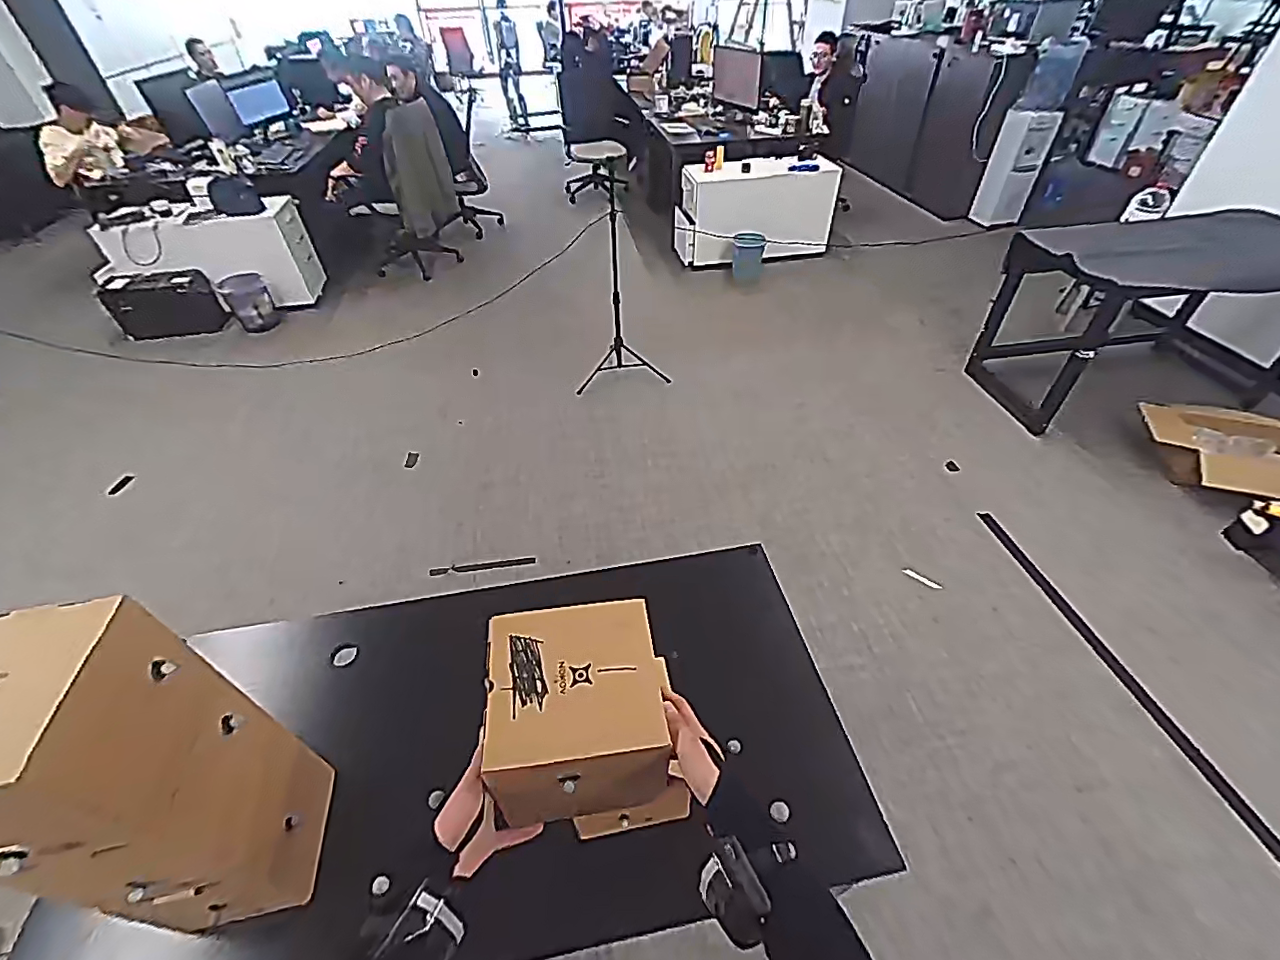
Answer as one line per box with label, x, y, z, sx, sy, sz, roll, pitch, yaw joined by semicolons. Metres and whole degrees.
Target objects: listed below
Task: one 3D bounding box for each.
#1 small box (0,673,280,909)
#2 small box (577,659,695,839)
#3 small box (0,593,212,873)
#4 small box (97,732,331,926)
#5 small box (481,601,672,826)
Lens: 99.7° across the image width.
small box;-0.553;0.355;0.621;0.168;0.176;0.179;-9;44;-7
small box;-0.022;0.397;0.800;0.168;0.176;0.179;-8;44;-7
small box;-0.555;0.237;0.509;0.168;0.176;0.179;-10;44;-7
small box;-0.549;0.476;0.733;0.168;0.176;0.179;-9;44;-8
small box;-0.065;0.257;0.596;0.179;0.176;0.168;-5;43;-6
